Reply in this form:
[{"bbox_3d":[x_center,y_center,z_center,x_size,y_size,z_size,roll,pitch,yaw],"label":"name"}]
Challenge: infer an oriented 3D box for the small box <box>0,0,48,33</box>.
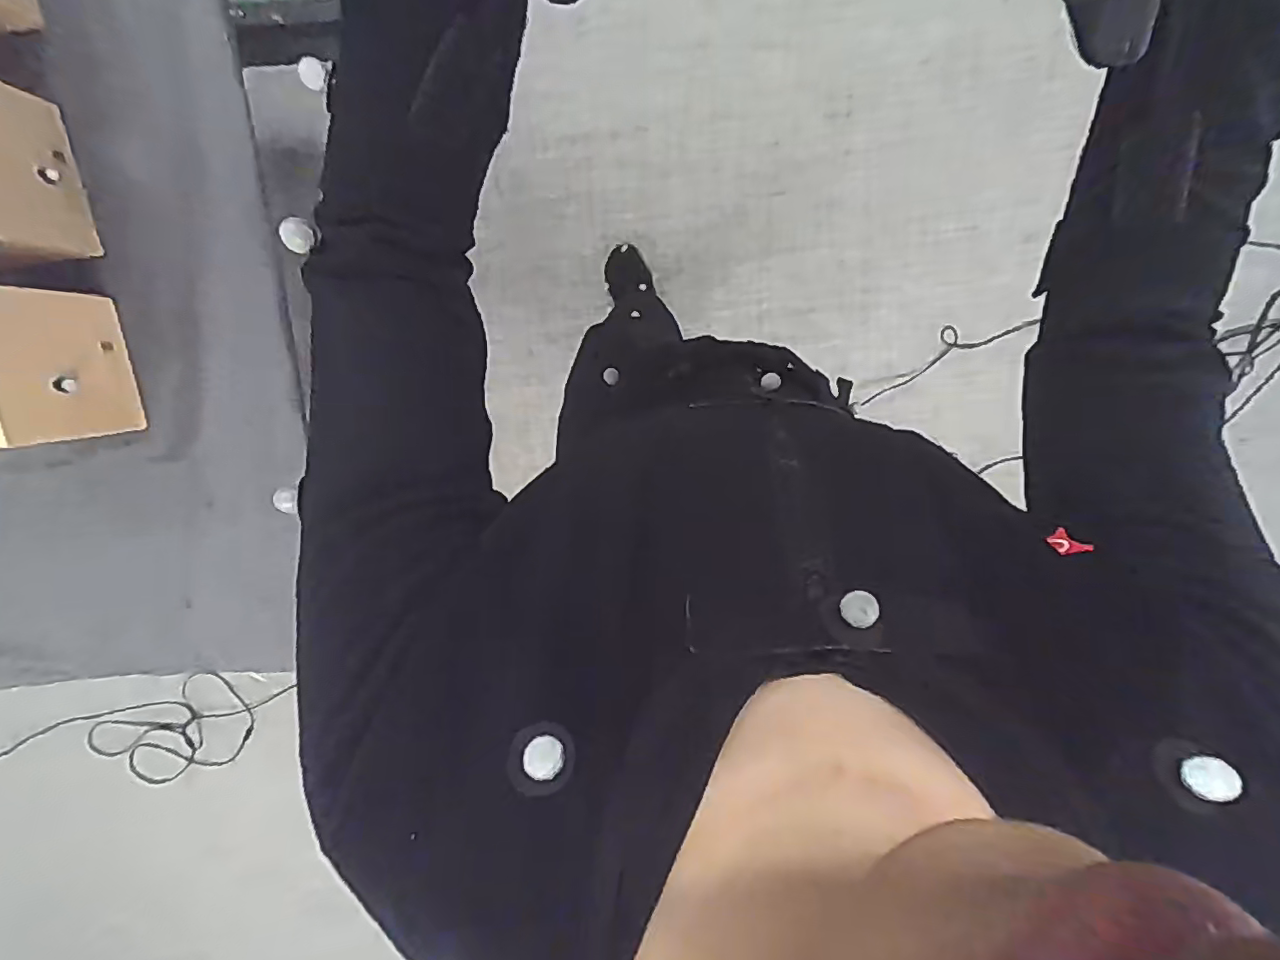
[{"bbox_3d":[-0.760,-0.567,0.521,0.179,0.176,0.168,-4,104,2],"label":"small box"}]
